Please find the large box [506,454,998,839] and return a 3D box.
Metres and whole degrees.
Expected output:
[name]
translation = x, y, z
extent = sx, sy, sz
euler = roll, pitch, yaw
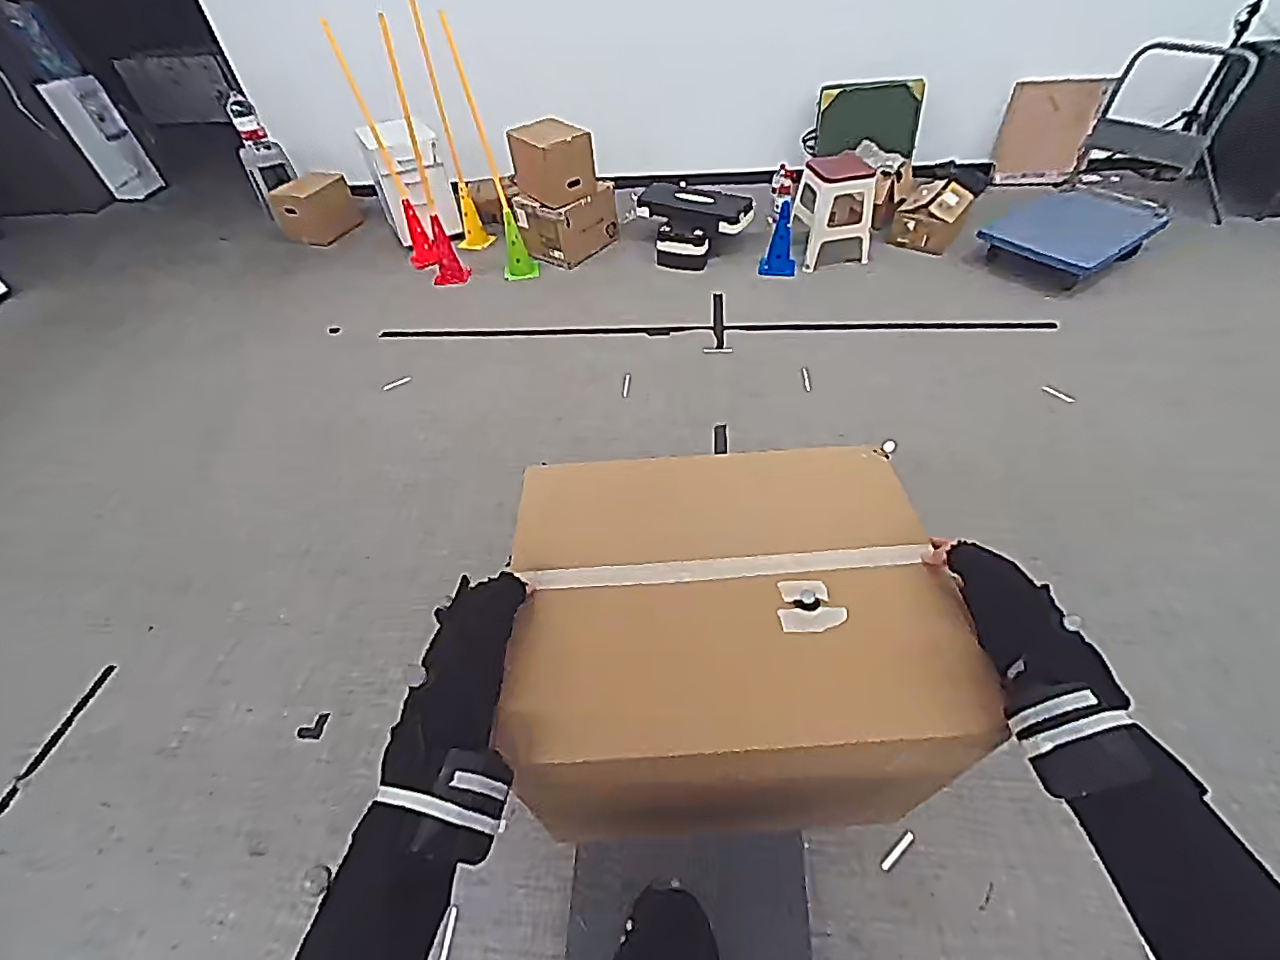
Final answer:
[large box]
translation = 0.086, 0.196, 0.635
extent = 0.408, 0.320, 0.320
euler = -4, 47, 0
